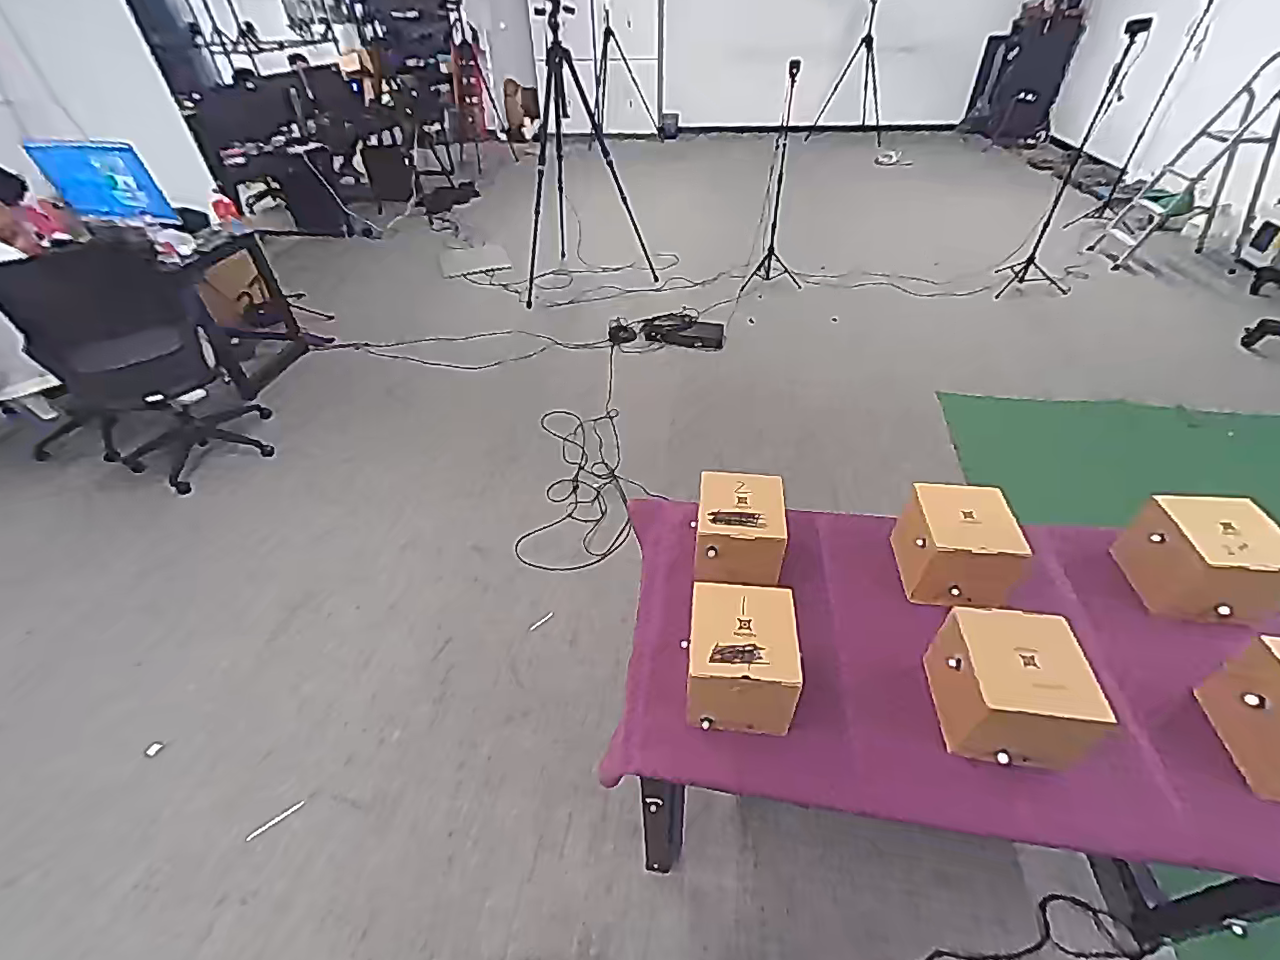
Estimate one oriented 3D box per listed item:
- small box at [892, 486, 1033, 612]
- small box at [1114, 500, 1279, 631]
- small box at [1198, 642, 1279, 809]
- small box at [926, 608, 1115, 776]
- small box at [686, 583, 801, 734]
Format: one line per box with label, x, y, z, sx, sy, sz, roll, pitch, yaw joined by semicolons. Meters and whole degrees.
small box;0.620;0.135;1.070;0.168;0.176;0.179;4;43;6
small box;1.060;0.160;1.022;0.168;0.176;0.179;2;42;9
small box;0.998;0.369;0.791;0.168;0.176;0.179;6;40;10
small box;0.575;0.331;0.850;0.168;0.176;0.179;5;42;8
small box;0.164;0.296;0.896;0.168;0.176;0.179;4;40;5
